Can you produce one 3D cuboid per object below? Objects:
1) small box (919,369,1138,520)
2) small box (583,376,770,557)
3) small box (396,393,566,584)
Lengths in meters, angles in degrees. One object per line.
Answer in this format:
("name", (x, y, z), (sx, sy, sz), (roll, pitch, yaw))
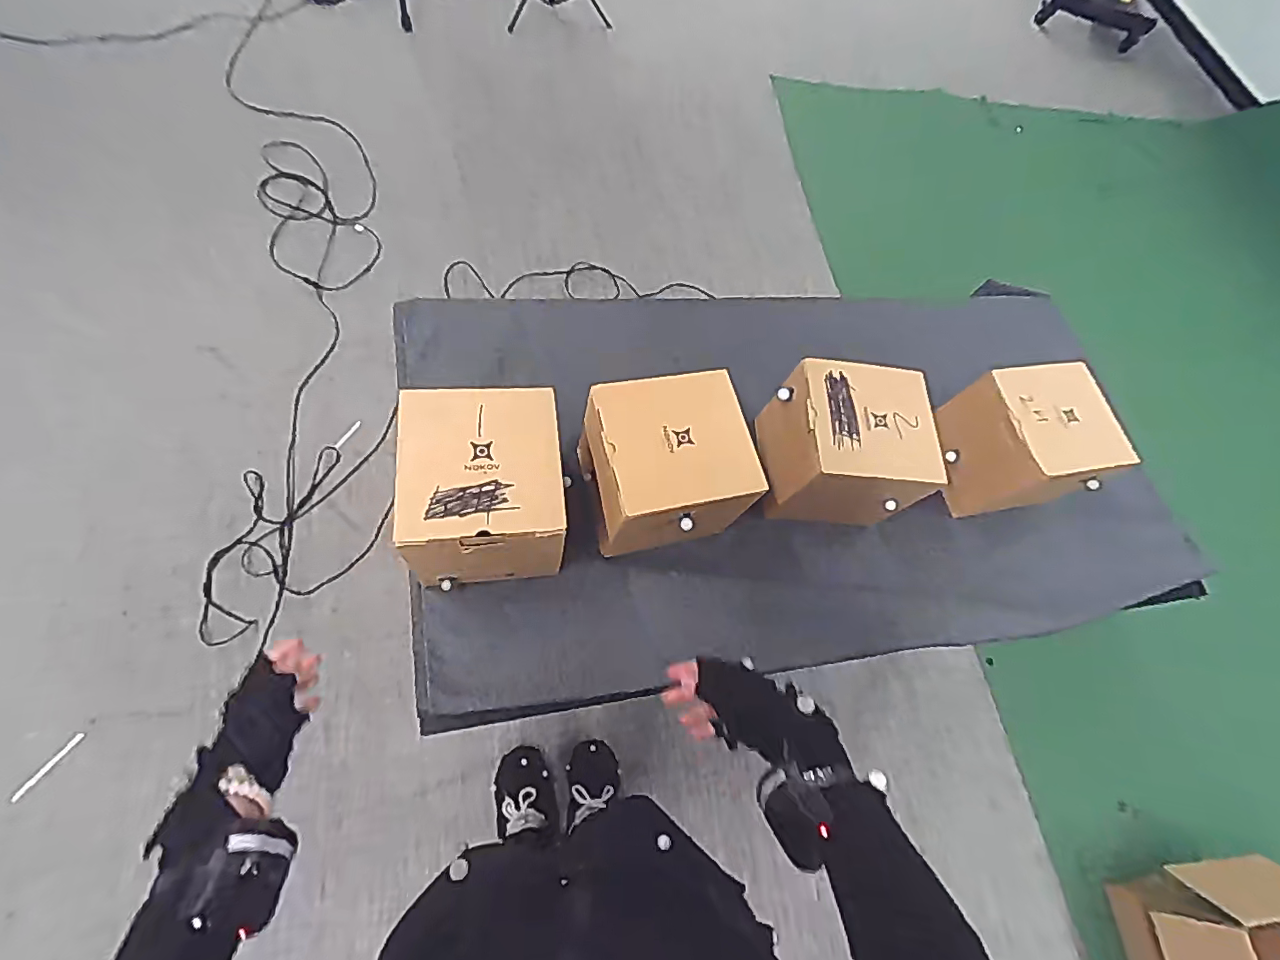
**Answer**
("small box", (0.570, -0.049, 0.818), (0.179, 0.176, 0.168), (-7, 68, -14))
("small box", (0.034, -0.011, 0.694), (0.179, 0.176, 0.168), (-10, 70, -15))
("small box", (-0.176, 0.017, 0.631), (0.168, 0.176, 0.179), (-3, 65, -13))
